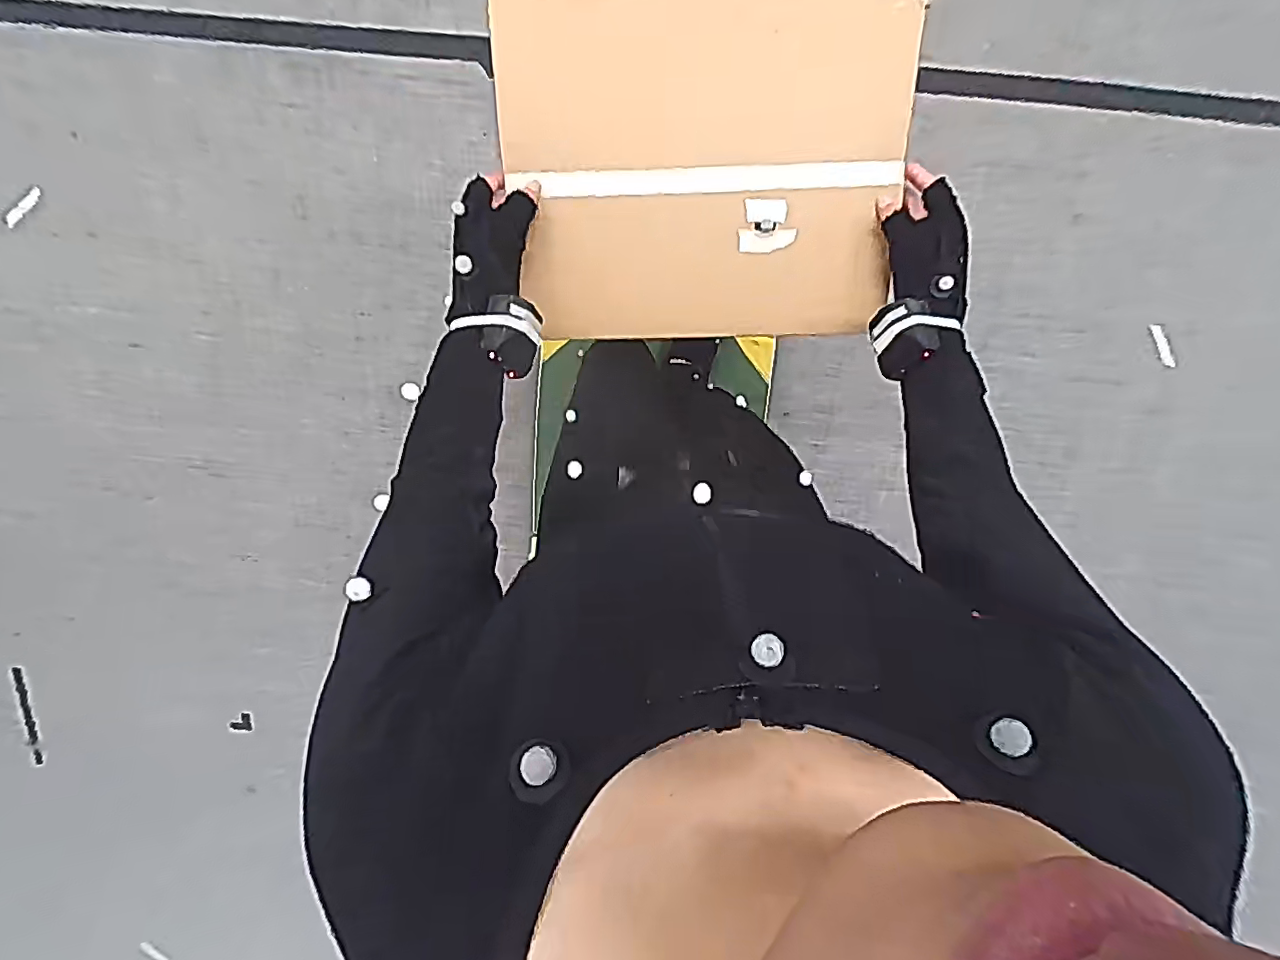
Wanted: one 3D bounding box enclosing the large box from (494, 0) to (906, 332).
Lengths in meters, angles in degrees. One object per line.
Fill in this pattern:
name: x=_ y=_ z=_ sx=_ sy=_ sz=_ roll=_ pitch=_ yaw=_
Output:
large box: x=0.061 y=-0.376 z=0.708 sx=0.408 sy=0.320 sz=0.320 roll=-2 pitch=112 yaw=1
